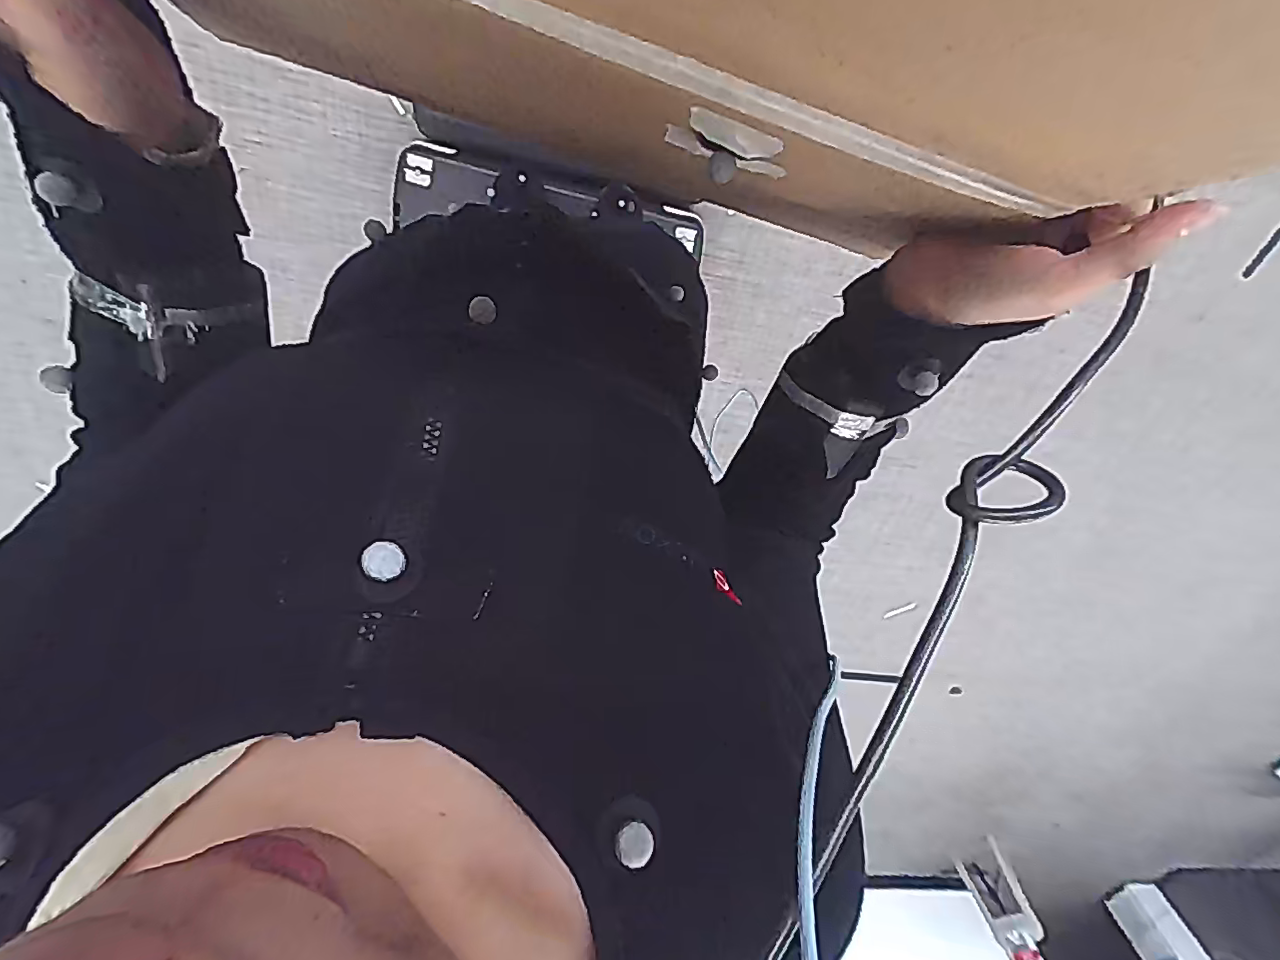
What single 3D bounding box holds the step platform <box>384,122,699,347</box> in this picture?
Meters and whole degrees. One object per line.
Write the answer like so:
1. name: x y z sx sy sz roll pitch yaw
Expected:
1. step platform: -0.212 -0.543 1.242 0.684 0.204 0.286 15 120 -12
